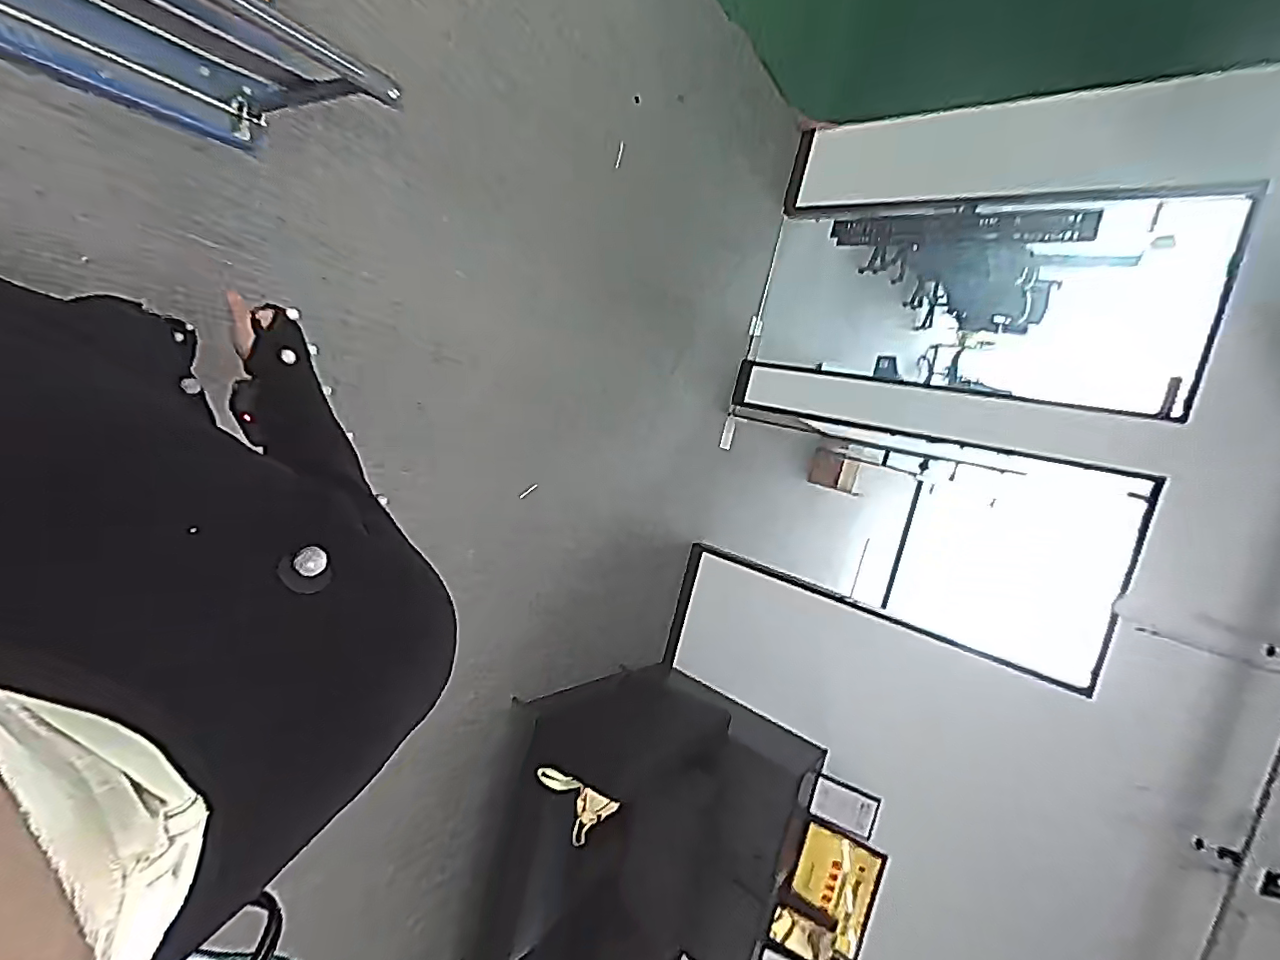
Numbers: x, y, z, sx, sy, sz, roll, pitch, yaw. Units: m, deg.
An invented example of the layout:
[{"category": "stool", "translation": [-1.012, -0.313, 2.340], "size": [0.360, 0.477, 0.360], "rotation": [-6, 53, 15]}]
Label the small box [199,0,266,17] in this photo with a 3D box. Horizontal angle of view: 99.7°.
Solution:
[{"category": "small box", "translation": [-0.775, -0.979, 0.955], "size": [0.168, 0.176, 0.179], "rotation": [0, 106, -53]}]
